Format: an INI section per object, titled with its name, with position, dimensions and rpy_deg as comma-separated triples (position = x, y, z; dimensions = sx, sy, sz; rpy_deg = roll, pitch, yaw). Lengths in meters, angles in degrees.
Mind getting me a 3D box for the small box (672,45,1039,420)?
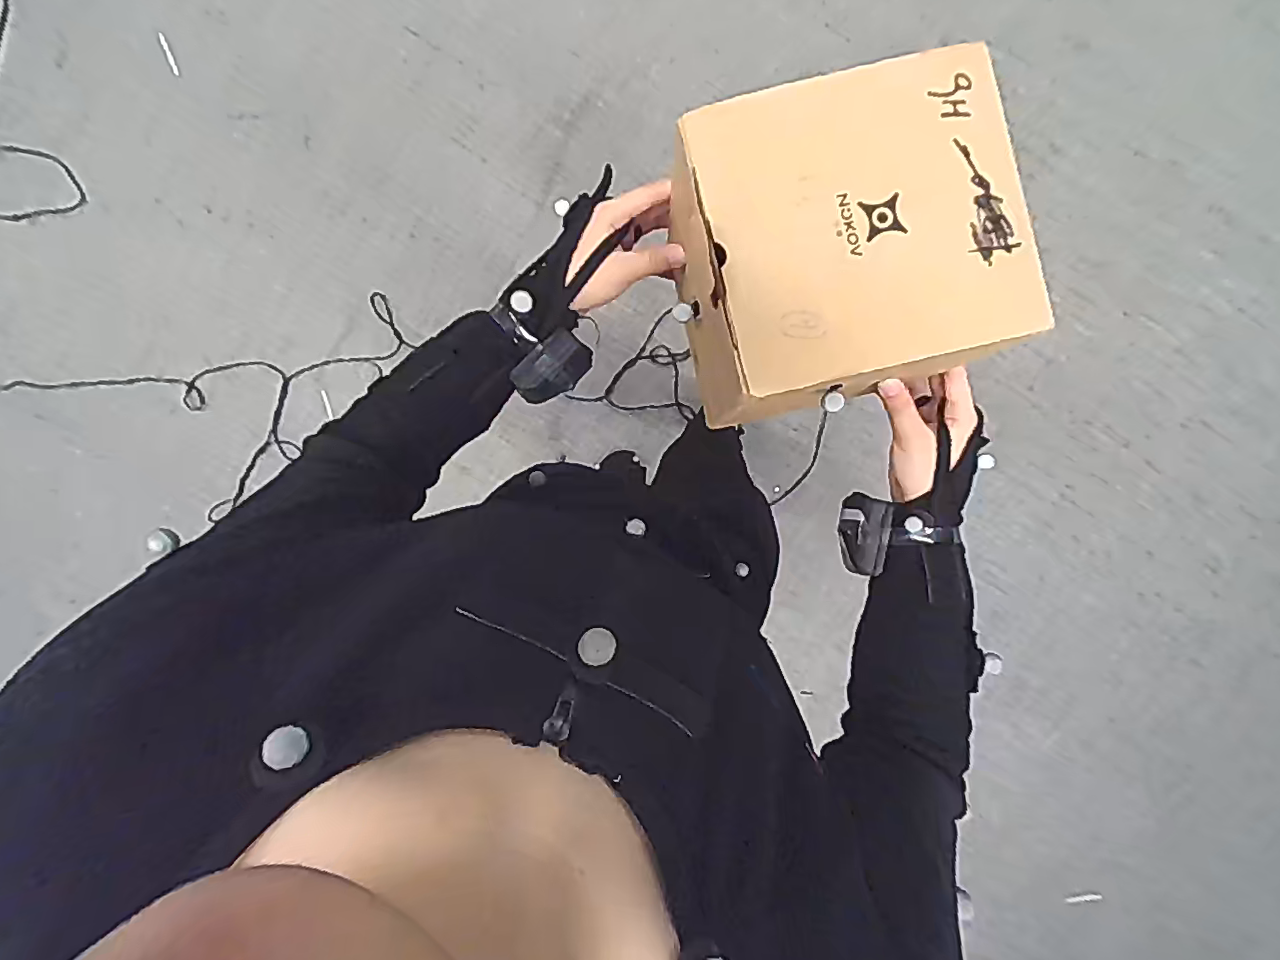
[small box]
position = 0.123, -0.145, 0.383
dimensions = 0.179, 0.176, 0.168
rpy_deg = -13, 90, 0
